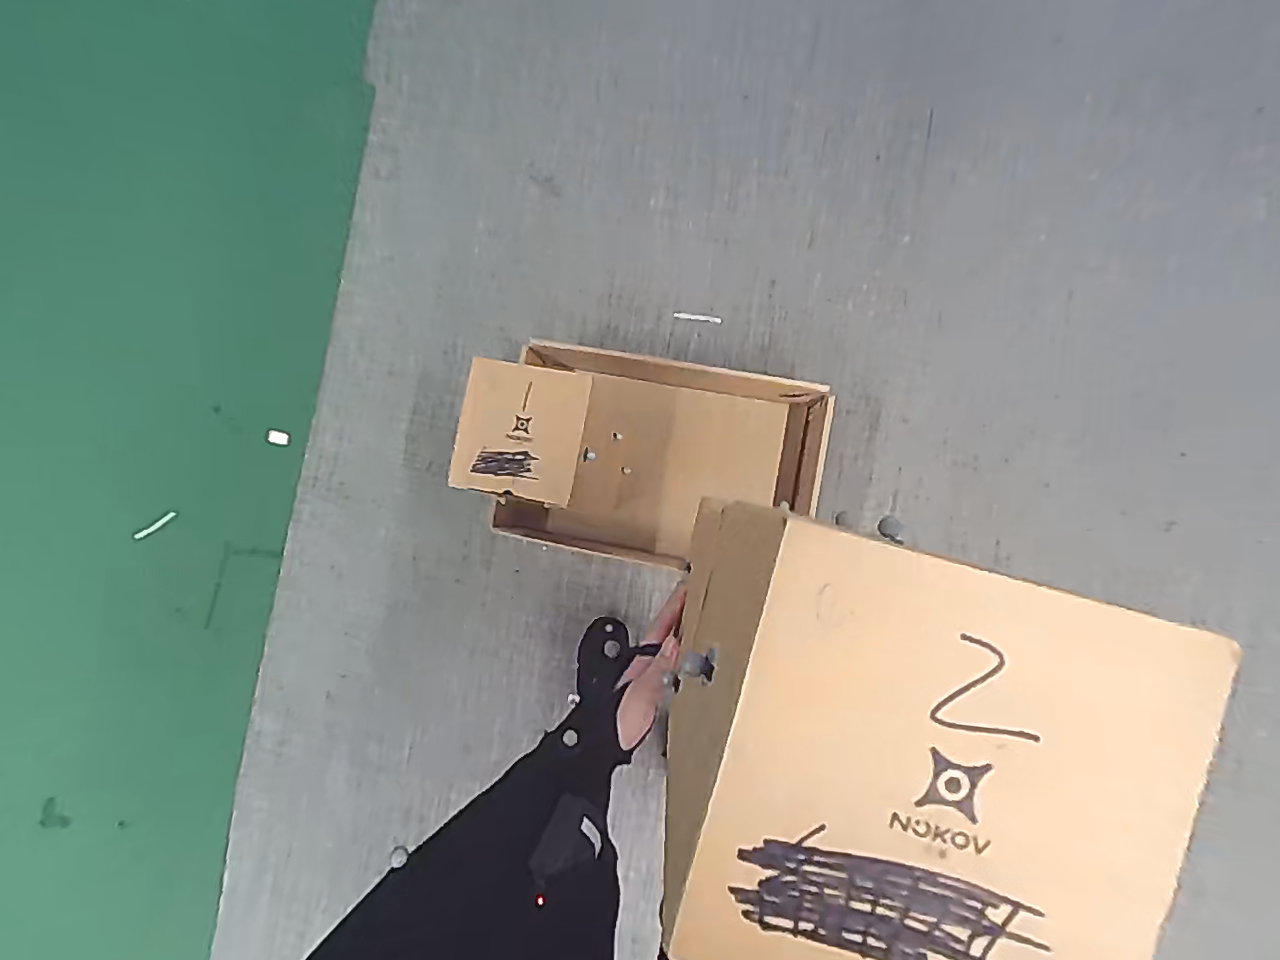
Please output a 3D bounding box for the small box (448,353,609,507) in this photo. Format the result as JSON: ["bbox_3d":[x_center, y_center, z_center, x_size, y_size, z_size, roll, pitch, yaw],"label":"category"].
[{"bbox_3d":[-0.145,-0.060,0.769,0.168,0.176,0.179,10,86,5],"label":"small box"}]

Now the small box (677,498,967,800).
[{"bbox_3d":[0.126,0.115,0.446,0.168,0.176,0.179,12,91,3],"label":"small box"}]
